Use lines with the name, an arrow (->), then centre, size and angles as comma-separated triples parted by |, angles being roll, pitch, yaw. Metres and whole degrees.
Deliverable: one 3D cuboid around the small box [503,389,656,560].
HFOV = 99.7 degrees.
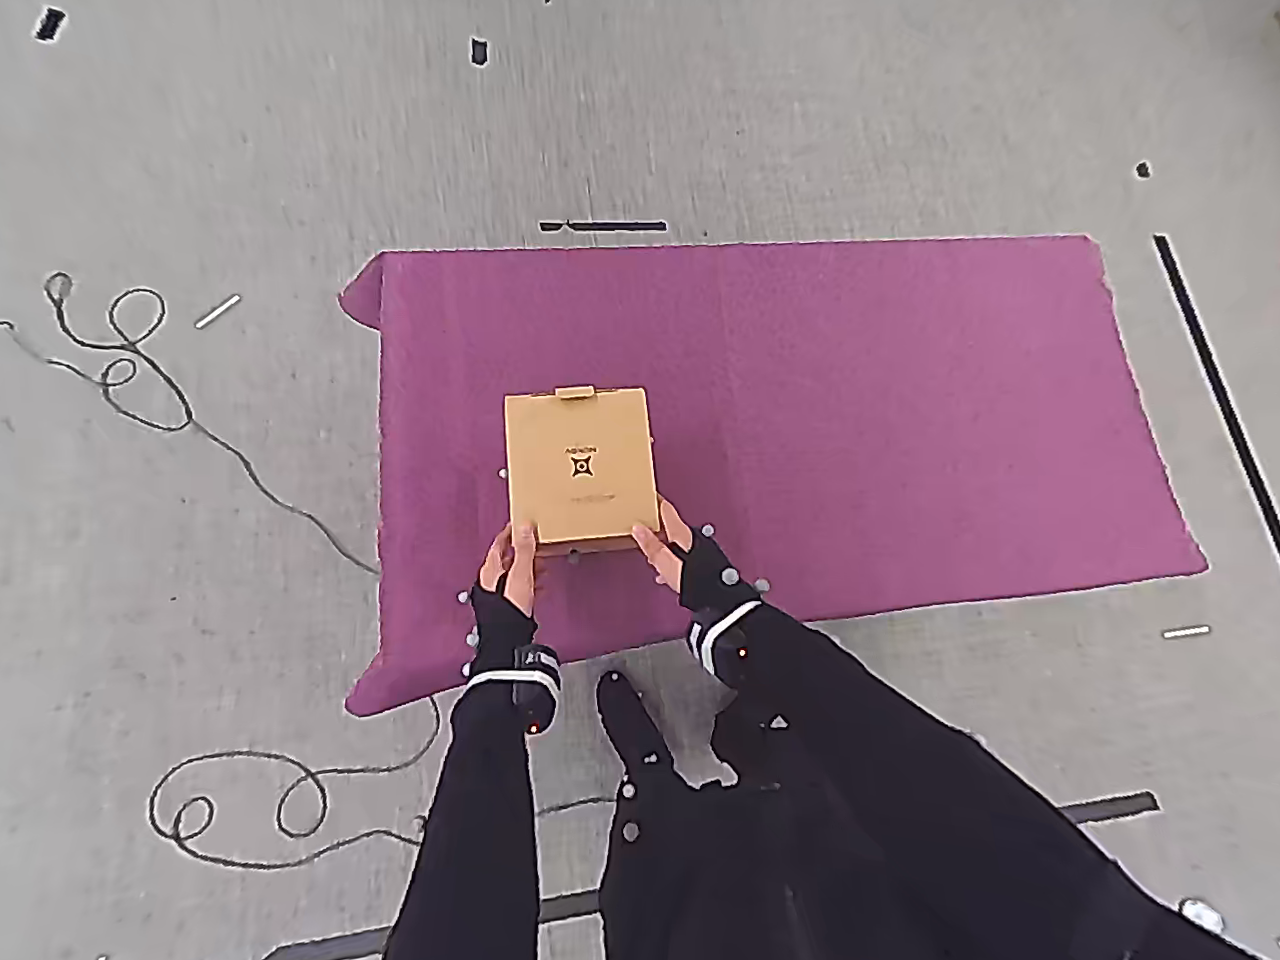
small box -> -0.078, 0.000, 0.680 | 0.168, 0.176, 0.179 | -4, 78, -7
